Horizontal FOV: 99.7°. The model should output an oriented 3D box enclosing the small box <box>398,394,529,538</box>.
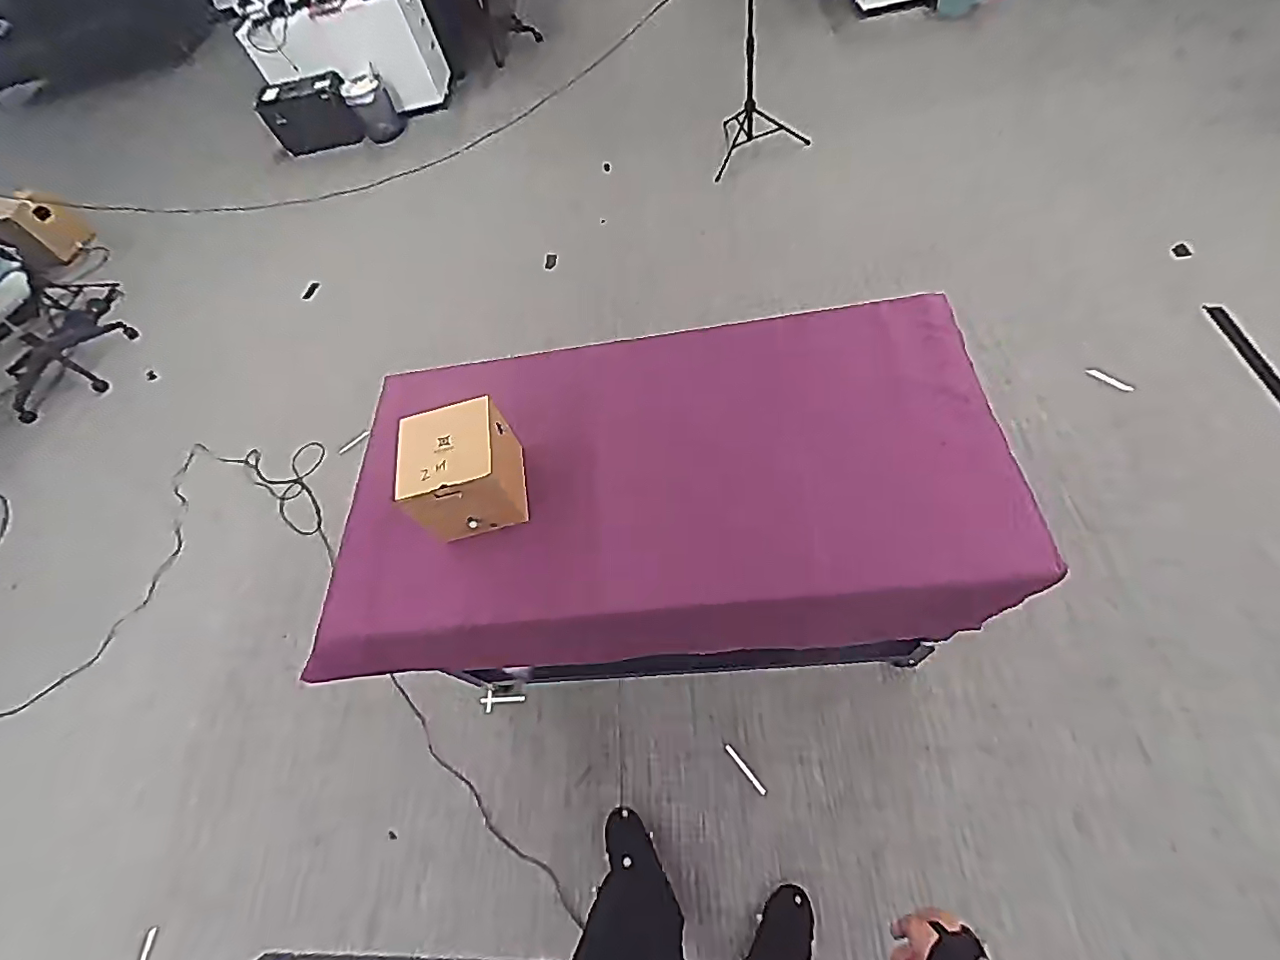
[{"bbox_3d":[-0.308,-0.020,0.970,0.168,0.176,0.179,-14,58,4],"label":"small box"}]
